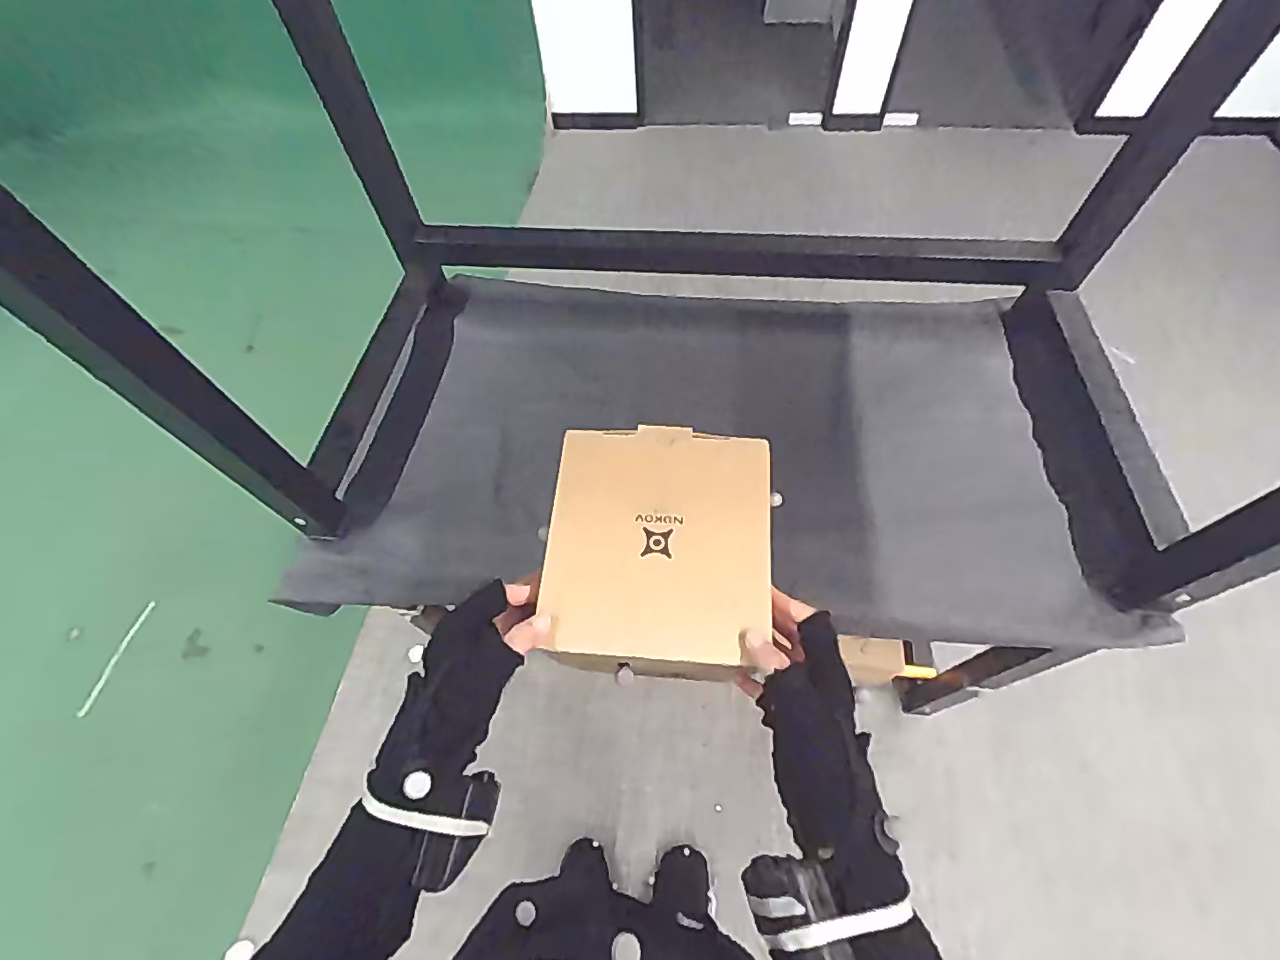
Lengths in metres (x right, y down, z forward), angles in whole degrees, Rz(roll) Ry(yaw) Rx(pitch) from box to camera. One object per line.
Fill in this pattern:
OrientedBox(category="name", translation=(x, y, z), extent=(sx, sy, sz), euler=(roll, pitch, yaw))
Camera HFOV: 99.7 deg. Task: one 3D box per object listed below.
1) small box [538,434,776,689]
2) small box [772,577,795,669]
OrientedBox(category="small box", translation=(0.022, 0.079, 0.470), extent=(0.168, 0.176, 0.179), euler=(3, 63, 4))
OrientedBox(category="small box", translation=(0.264, 0.333, 1.263), extent=(0.168, 0.176, 0.179), euler=(4, 59, 6))
